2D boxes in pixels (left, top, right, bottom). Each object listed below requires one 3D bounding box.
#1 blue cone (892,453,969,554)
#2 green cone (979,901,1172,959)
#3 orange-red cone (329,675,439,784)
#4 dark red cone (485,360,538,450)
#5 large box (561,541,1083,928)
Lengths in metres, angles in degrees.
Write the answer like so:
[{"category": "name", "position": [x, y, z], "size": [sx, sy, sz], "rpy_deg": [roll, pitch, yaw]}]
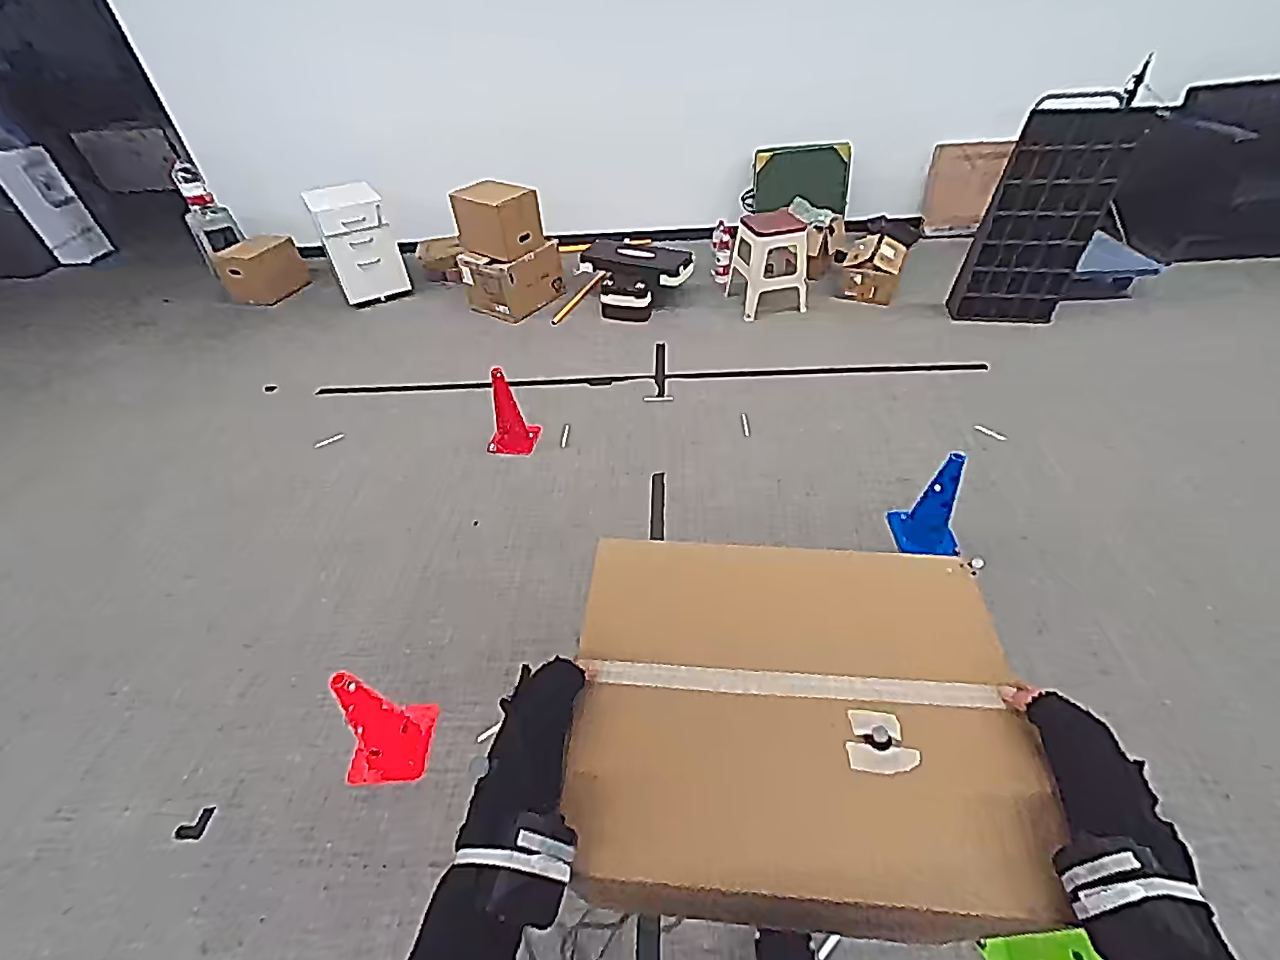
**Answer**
[{"category": "blue cone", "position": [0.988, 0.065, 1.783], "size": [0.192, 0.380, 0.193], "rpy_deg": [2, 43, 5]}, {"category": "green cone", "position": [0.808, 0.817, 0.956], "size": [0.202, 0.368, 0.200], "rpy_deg": [-27, 48, -25]}, {"category": "orange-red cone", "position": [-0.665, 0.582, 1.331], "size": [0.198, 0.360, 0.199], "rpy_deg": [-4, 44, 2]}, {"category": "dark red cone", "position": [-0.565, -0.318, 2.264], "size": [0.201, 0.394, 0.202], "rpy_deg": [3, 43, 7]}, {"category": "large box", "position": [0.145, 0.290, 0.619], "size": [0.408, 0.320, 0.320], "rpy_deg": [3, 48, 4]}]
